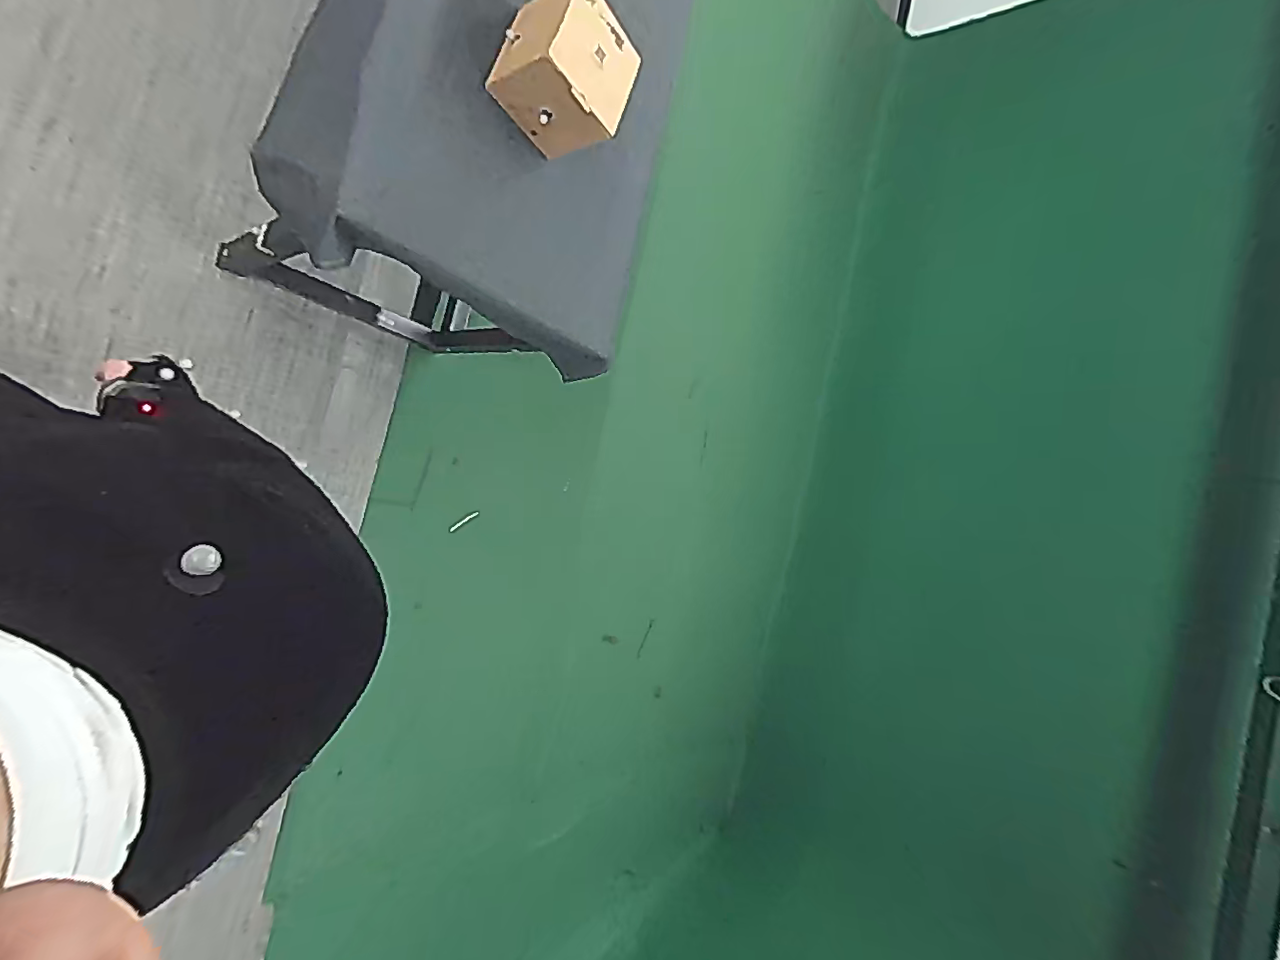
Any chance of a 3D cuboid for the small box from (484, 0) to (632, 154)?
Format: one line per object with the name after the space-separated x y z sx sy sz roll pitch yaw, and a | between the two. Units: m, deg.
-0.148 -0.719 0.957 0.168 0.176 0.179 31 75 -50 | small box
